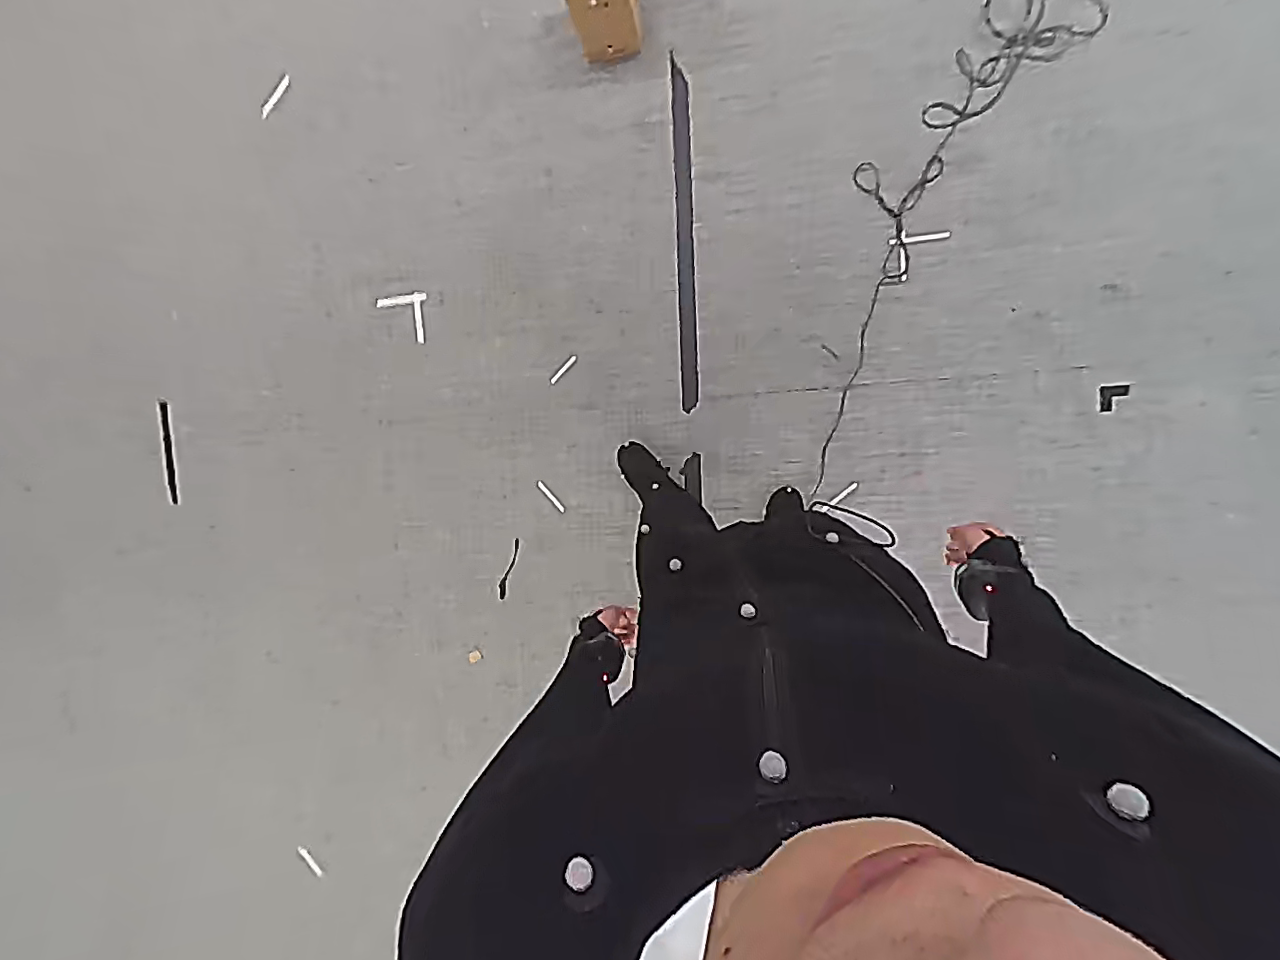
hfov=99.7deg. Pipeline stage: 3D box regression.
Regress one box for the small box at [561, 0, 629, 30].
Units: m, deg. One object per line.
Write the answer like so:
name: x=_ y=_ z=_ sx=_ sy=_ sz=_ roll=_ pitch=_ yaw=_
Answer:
small box: x=-0.123 y=-1.288 z=1.355 sx=0.168 sy=0.176 sz=0.179 roll=-1 pitch=93 yaw=9
